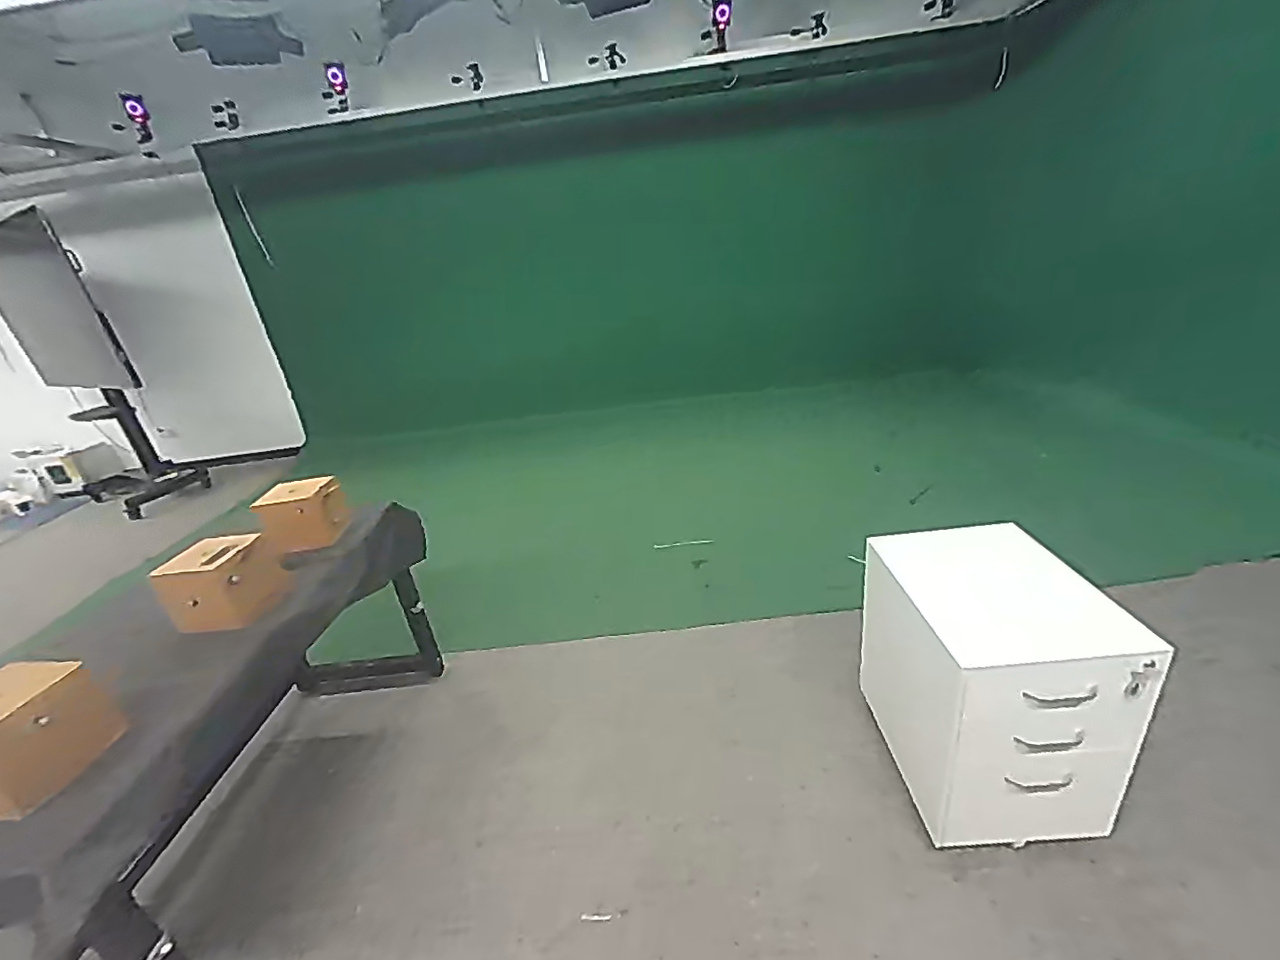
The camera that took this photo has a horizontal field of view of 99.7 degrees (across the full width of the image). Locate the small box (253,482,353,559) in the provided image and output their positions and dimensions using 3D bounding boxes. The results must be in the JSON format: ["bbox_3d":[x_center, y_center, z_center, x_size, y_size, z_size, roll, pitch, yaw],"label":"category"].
[{"bbox_3d":[-1.014,0.124,1.640,0.179,0.176,0.168,-9,23,-2],"label":"small box"}]

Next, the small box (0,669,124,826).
[{"bbox_3d":[-1.040,0.443,0.904,0.168,0.176,0.179,-4,22,9],"label":"small box"}]
